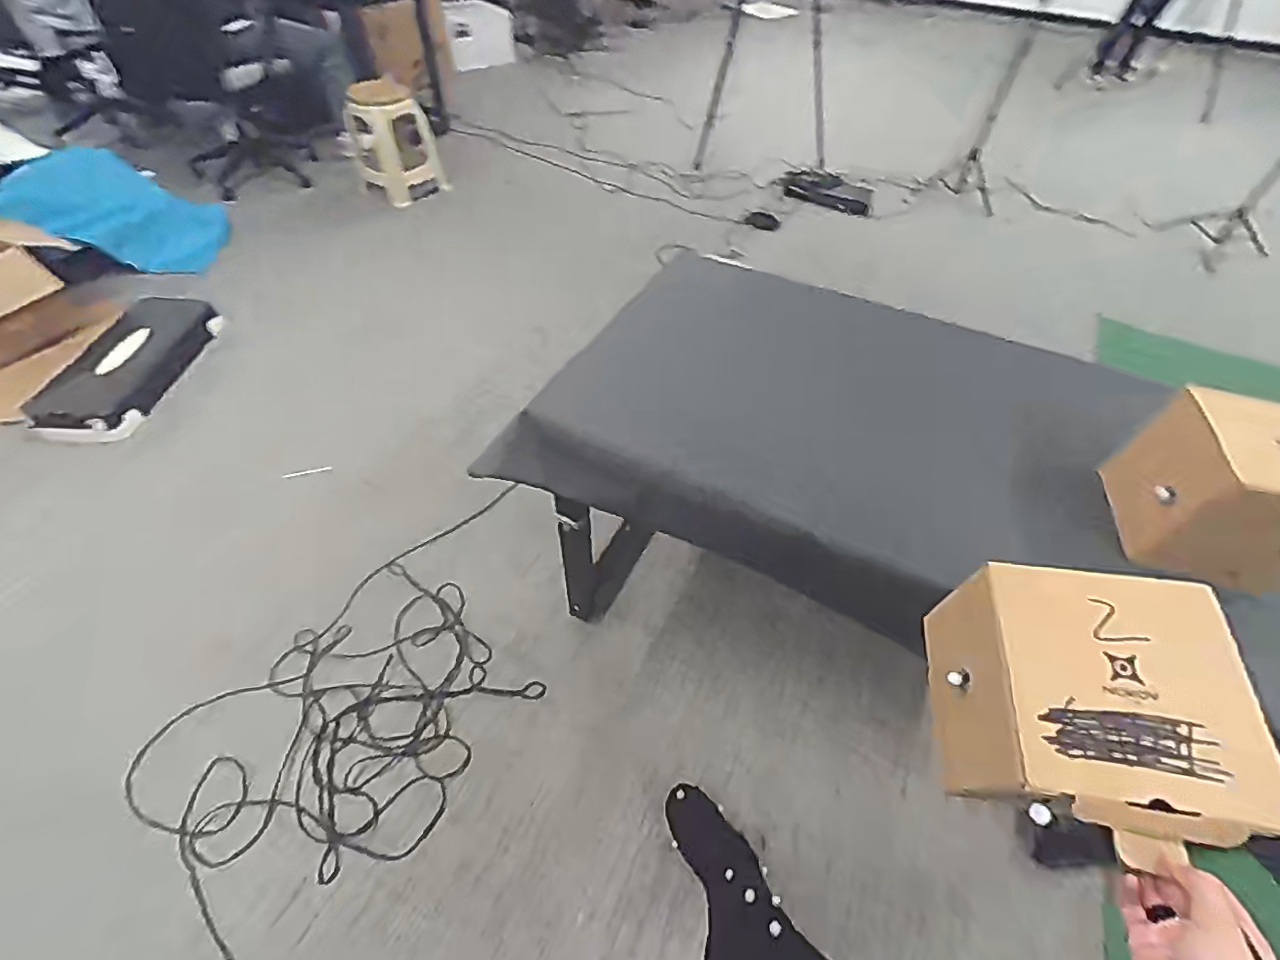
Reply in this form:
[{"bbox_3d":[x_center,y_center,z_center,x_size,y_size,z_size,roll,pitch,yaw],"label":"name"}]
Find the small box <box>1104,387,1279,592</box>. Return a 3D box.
[{"bbox_3d":[0.747,0.016,0.685,0.168,0.176,0.179,16,50,8],"label":"small box"}]
